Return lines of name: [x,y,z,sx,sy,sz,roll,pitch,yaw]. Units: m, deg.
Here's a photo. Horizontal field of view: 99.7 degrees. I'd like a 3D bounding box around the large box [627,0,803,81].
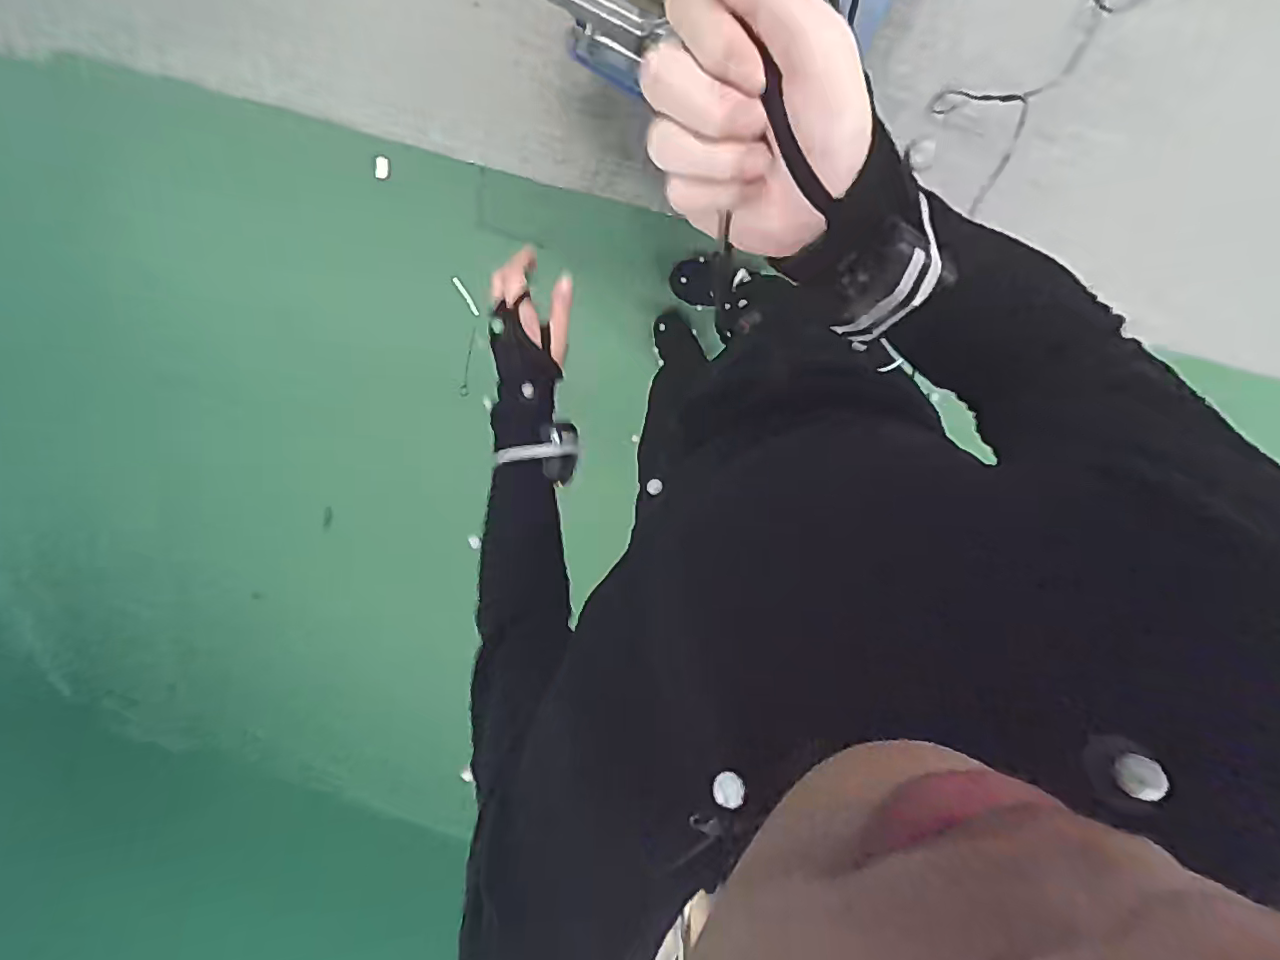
large box: [0.177,-0.976,0.886,0.320,0.320,0.408,25,116,-4]
